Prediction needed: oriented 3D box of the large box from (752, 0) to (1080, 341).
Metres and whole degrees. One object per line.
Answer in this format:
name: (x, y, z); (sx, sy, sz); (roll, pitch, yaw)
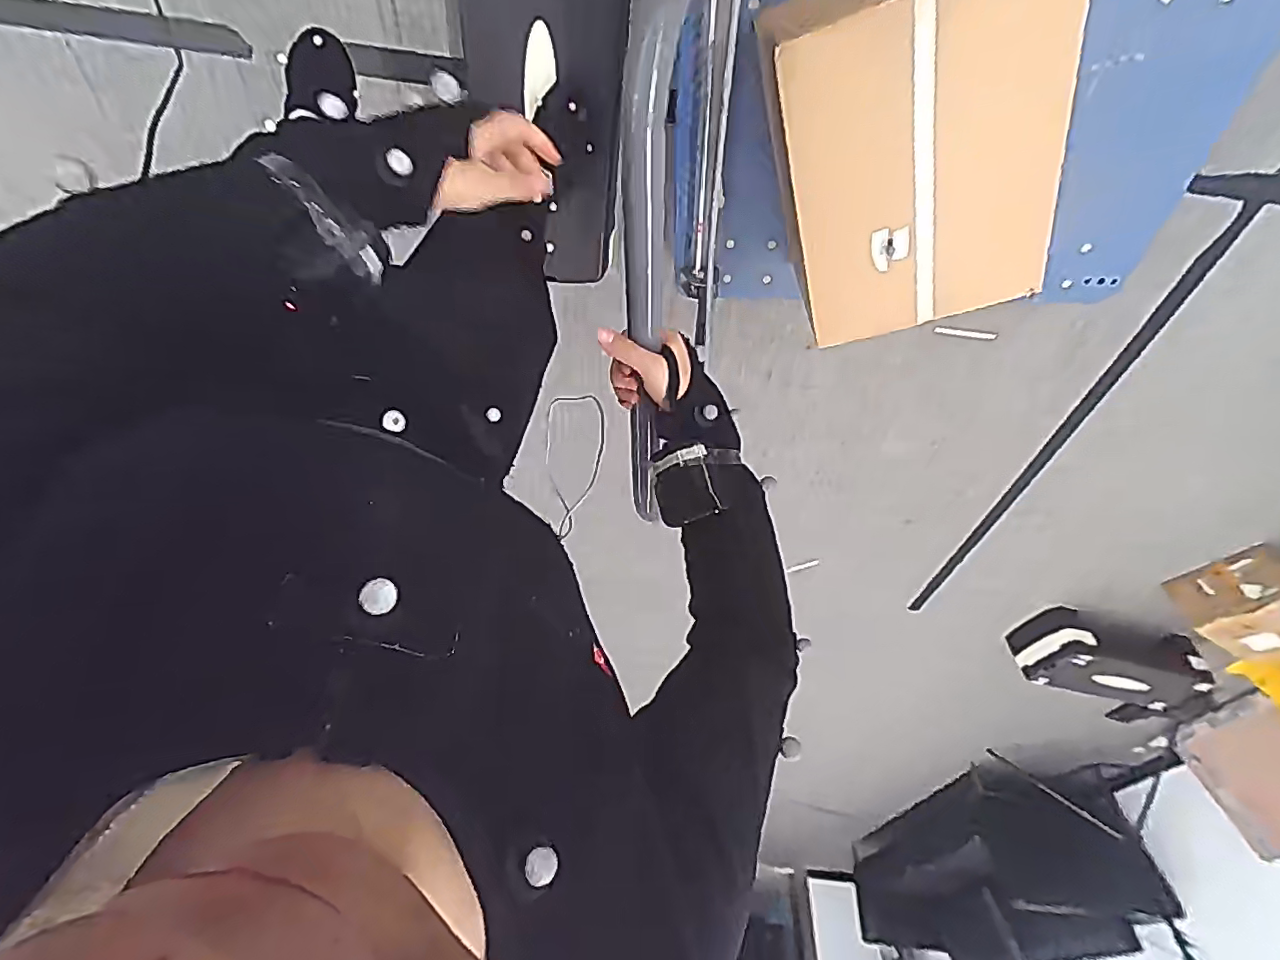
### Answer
large box: (0.369, -0.490, 0.795); (0.320, 0.320, 0.408); (-11, 134, 17)
